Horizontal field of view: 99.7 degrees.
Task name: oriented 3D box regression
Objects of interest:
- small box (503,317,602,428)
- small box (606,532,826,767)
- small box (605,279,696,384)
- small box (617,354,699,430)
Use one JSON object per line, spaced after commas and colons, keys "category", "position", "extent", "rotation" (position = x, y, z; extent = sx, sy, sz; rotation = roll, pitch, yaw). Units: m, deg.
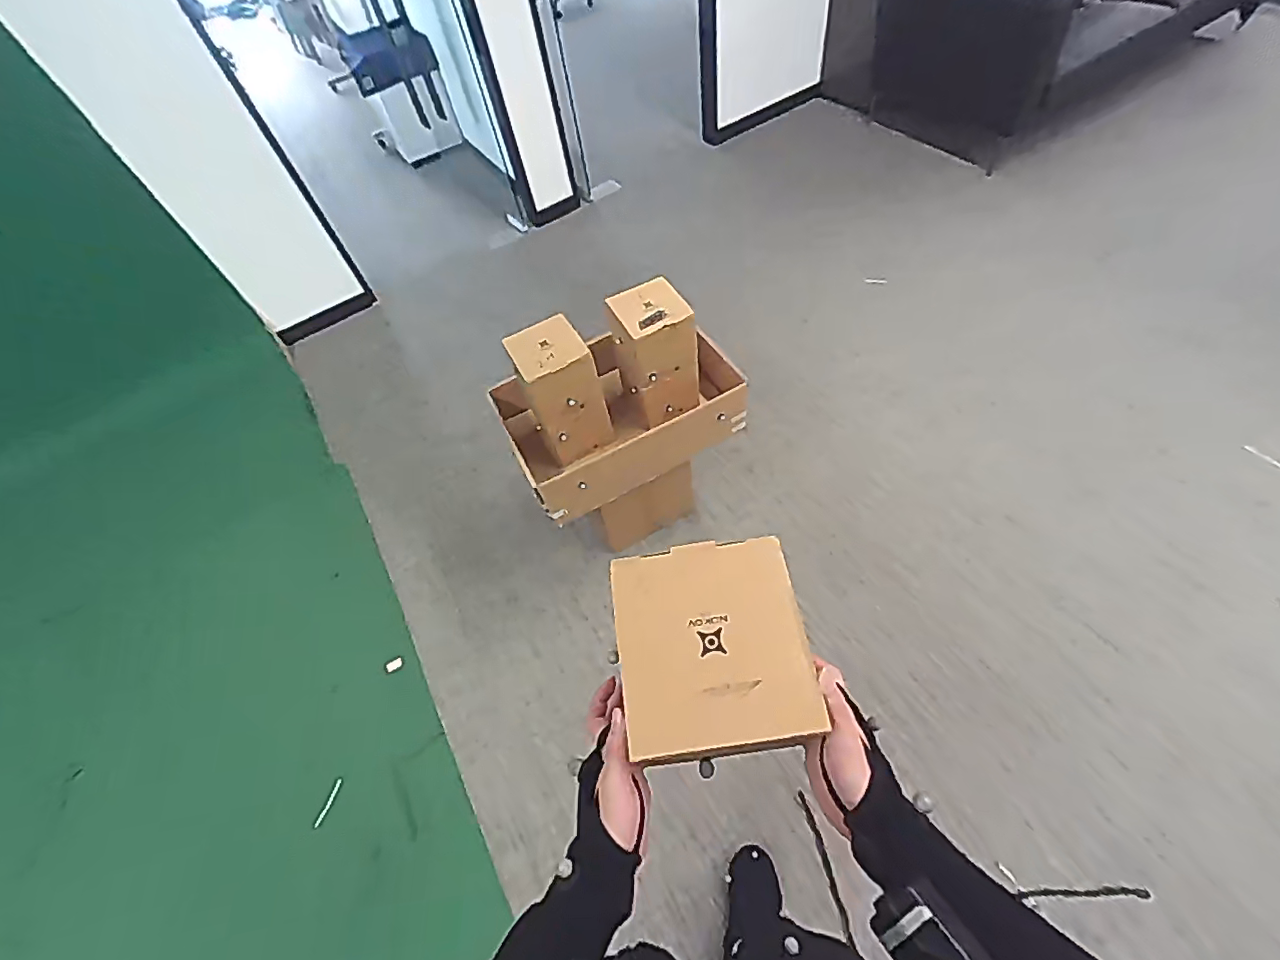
{"category": "small box", "position": [-0.212, -0.262, 1.332], "extent": [0.168, 0.176, 0.179], "rotation": [-27, 56, -9]}
{"category": "small box", "position": [0.062, 0.173, 0.535], "extent": [0.168, 0.176, 0.179], "rotation": [-8, 60, 1]}
{"category": "small box", "position": [0.031, -0.366, 1.368], "extent": [0.168, 0.176, 0.179], "rotation": [-25, 56, -9]}
{"category": "small box", "position": [0.051, -0.273, 1.502], "extent": [0.168, 0.176, 0.179], "rotation": [-26, 57, -9]}
